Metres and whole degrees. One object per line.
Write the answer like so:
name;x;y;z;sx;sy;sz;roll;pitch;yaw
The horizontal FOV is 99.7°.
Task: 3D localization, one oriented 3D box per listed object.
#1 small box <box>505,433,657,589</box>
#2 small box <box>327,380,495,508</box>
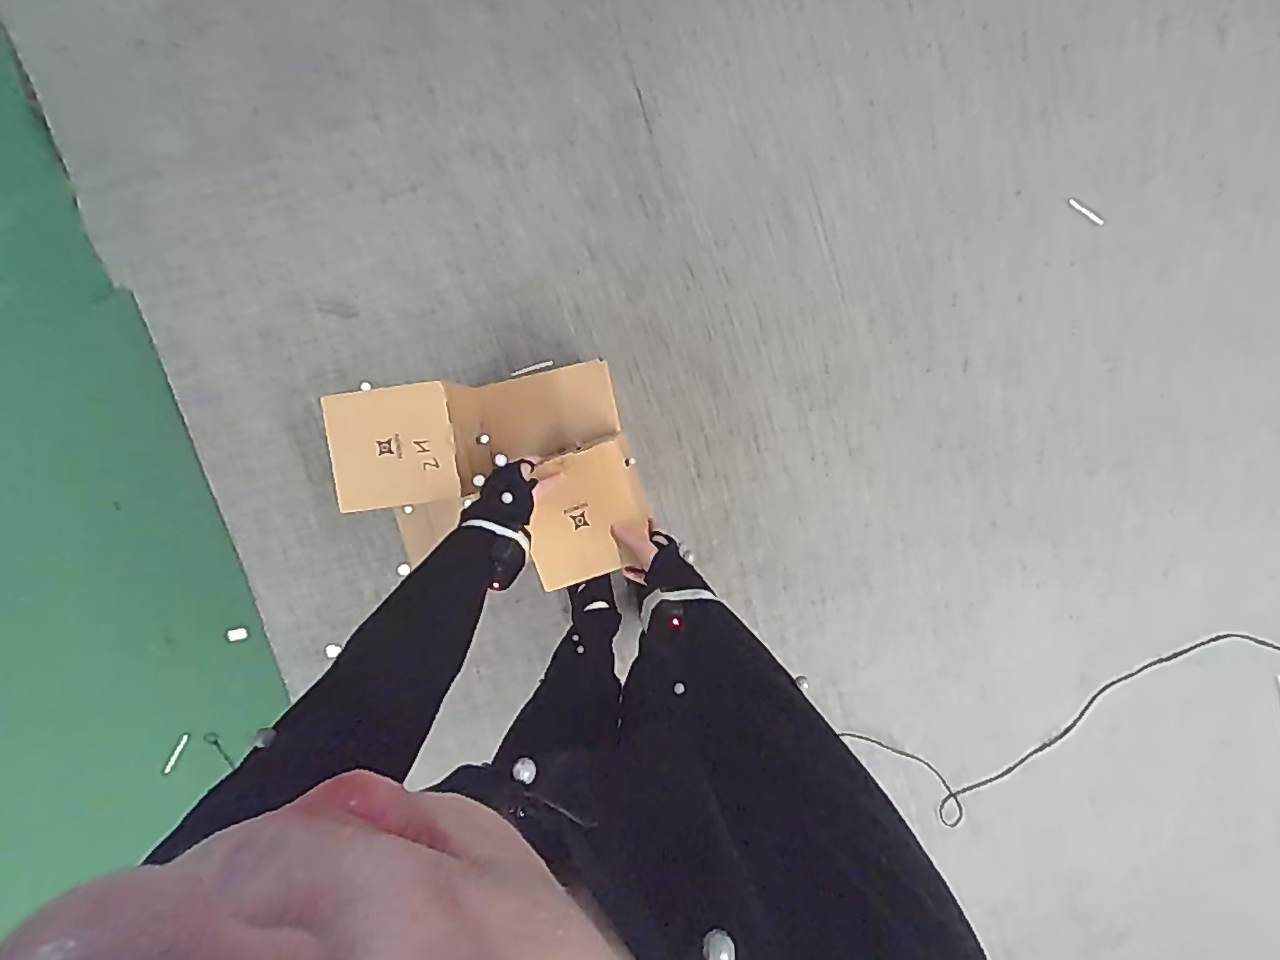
small box;-0.076;0.038;0.820;0.168;0.176;0.179;-19;96;6
small box;-0.339;-0.054;0.830;0.179;0.176;0.168;-7;95;0
